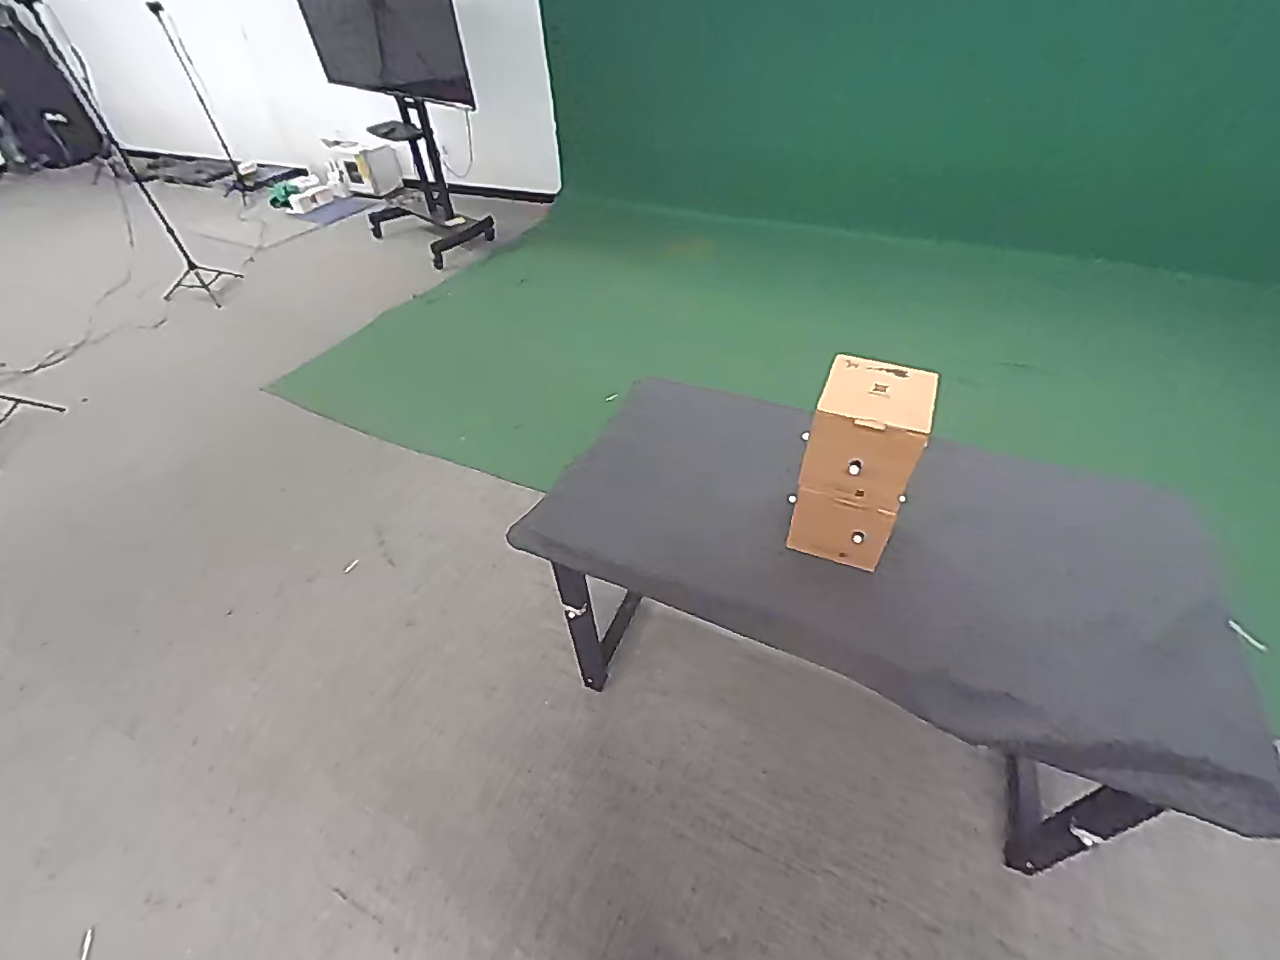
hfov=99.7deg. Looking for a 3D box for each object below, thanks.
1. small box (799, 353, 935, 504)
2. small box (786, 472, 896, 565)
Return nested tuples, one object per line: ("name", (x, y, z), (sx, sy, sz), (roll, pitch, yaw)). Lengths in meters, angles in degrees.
("small box", (0.380, -0.086, 0.925), (0.168, 0.176, 0.179), (18, 50, 18))
("small box", (0.386, 0.034, 1.037), (0.168, 0.176, 0.179), (16, 47, 17))
